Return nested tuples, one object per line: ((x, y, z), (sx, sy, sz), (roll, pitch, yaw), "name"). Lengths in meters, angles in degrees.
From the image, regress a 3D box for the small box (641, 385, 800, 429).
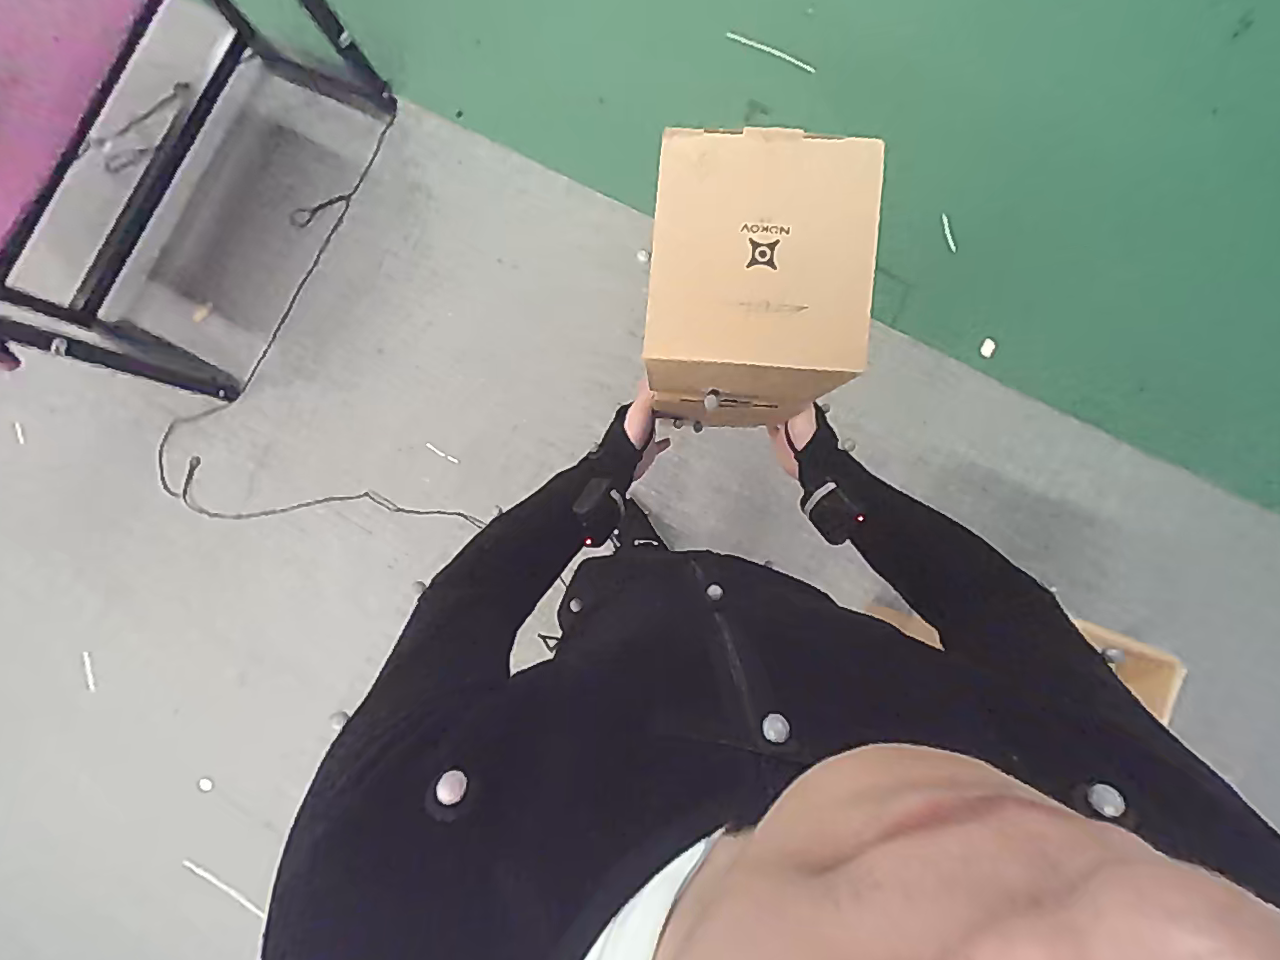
((0.092, -0.157, 0.633), (0.168, 0.176, 0.179), (4, 89, 2), "small box")

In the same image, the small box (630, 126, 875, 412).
((0.084, -0.164, 0.470), (0.168, 0.176, 0.179), (5, 90, 3), "small box")
